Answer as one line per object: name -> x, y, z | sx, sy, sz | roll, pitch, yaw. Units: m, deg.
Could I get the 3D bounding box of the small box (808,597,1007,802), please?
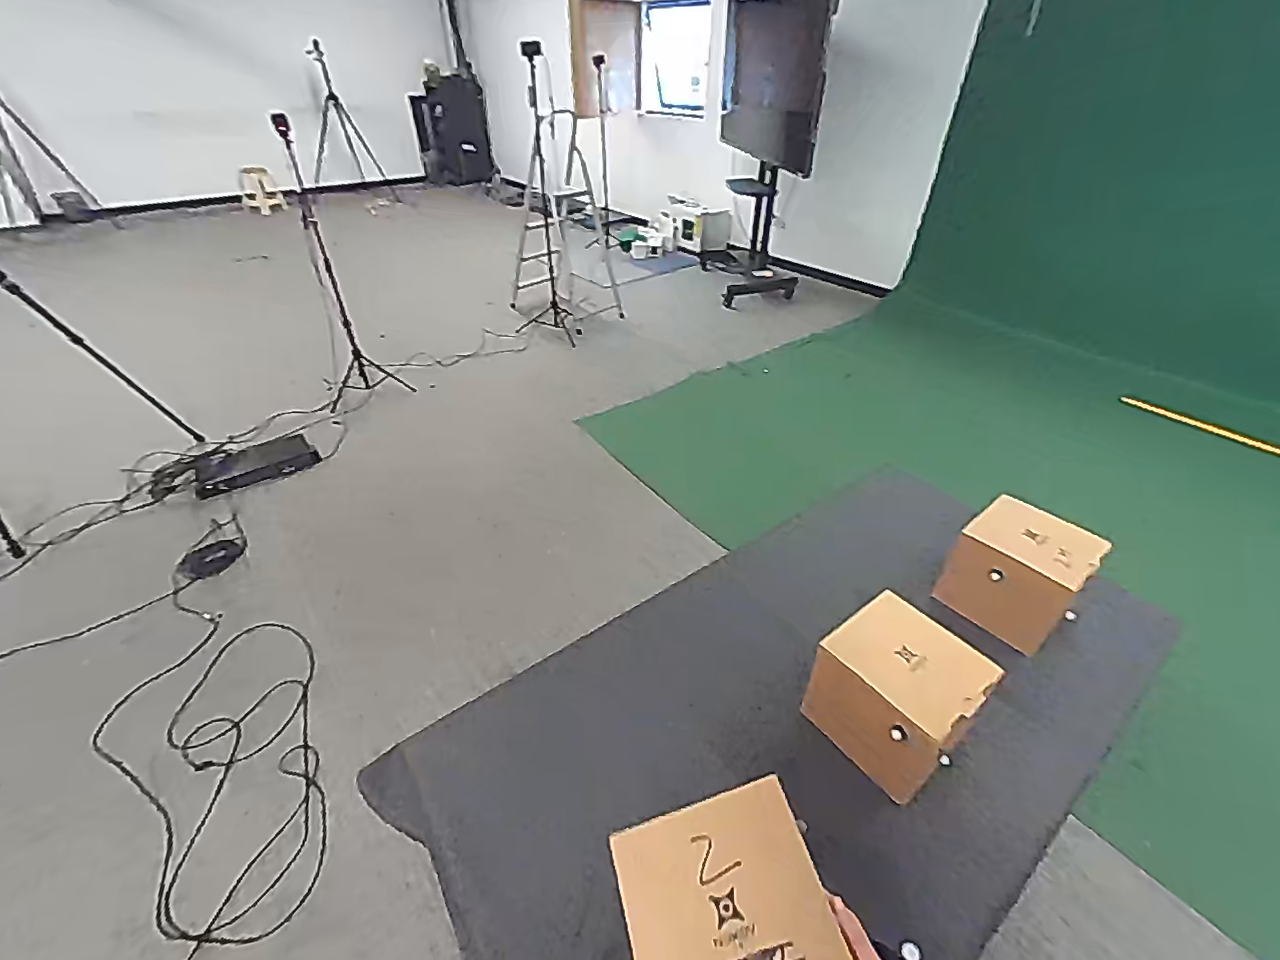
small box -> 0.367, 0.309, 0.772 | 0.168, 0.176, 0.179 | -25, 43, -28

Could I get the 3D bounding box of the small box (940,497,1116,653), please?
small box -> 0.667, 0.165, 0.950 | 0.168, 0.176, 0.179 | -27, 44, -29
